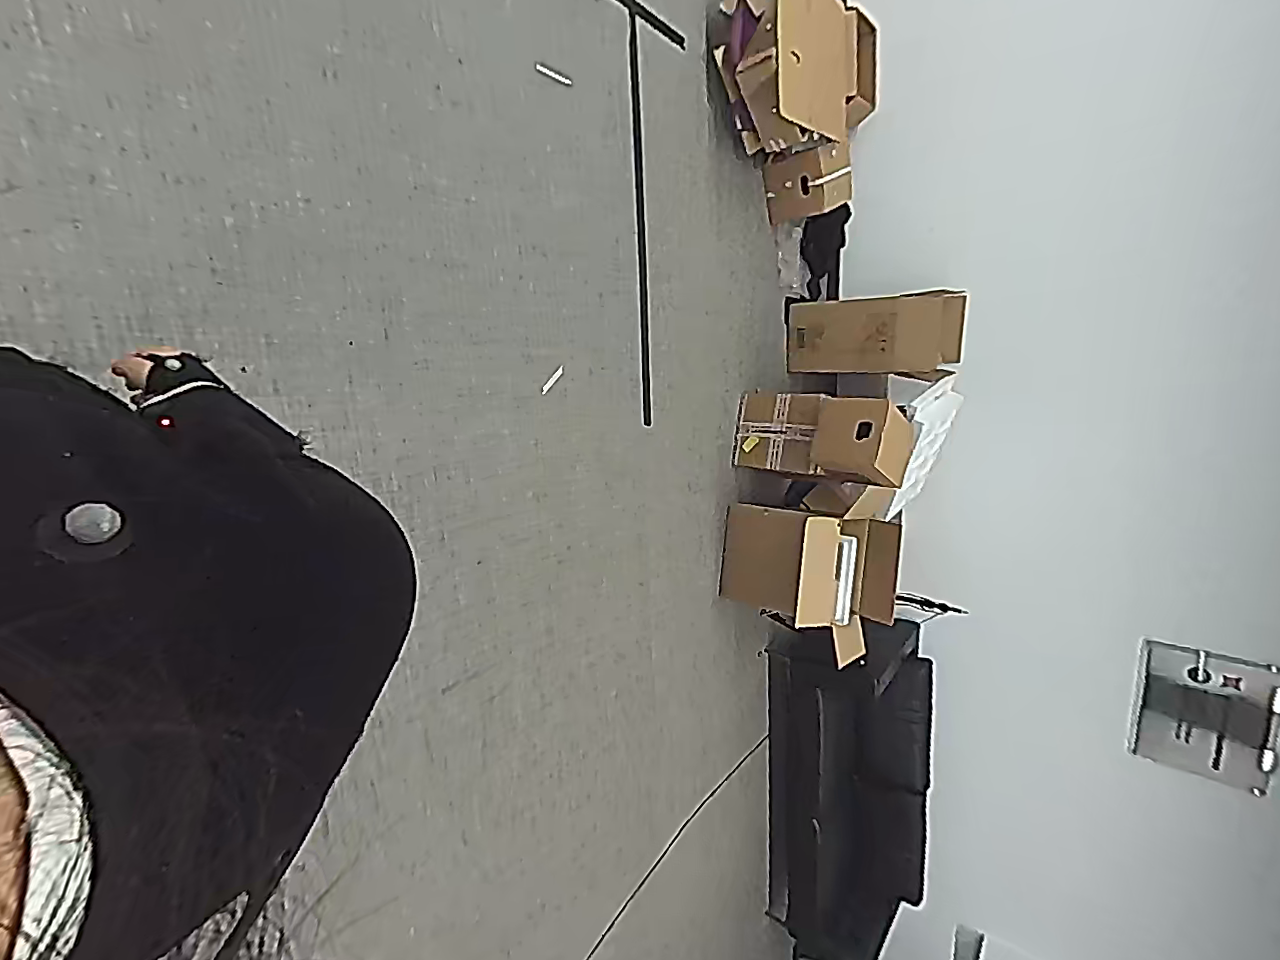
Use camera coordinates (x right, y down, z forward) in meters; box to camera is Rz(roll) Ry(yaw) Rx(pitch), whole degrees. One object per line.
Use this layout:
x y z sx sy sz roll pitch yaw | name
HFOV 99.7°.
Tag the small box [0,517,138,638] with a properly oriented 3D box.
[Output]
-1.080 0.169 1.015 0.168 0.176 0.179 -12 104 -48 | small box
